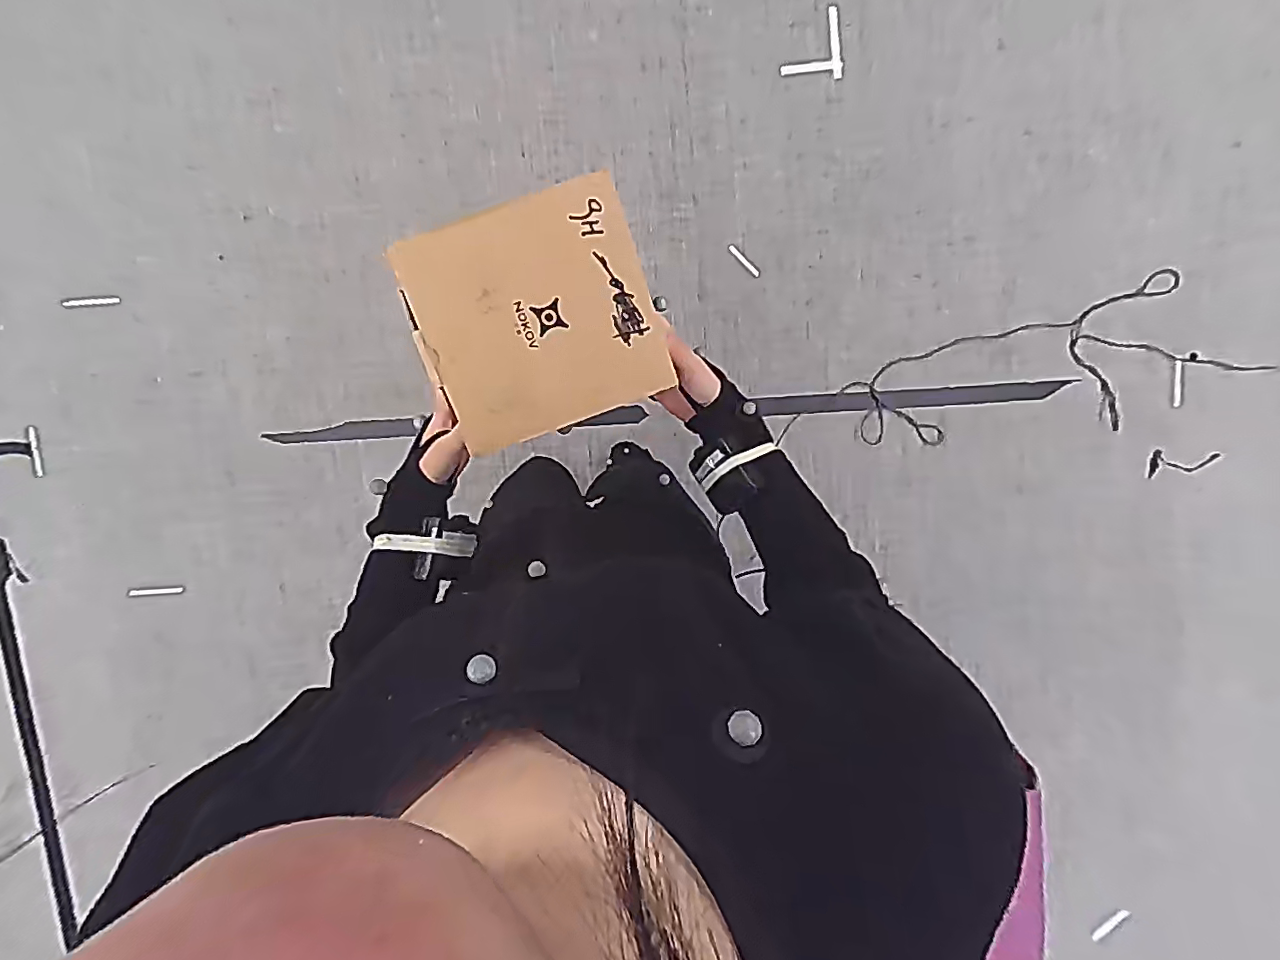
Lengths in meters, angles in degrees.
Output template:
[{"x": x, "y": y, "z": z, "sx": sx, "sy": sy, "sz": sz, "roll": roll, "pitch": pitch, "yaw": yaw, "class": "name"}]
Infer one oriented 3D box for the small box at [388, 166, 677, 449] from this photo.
[{"x": -0.081, "y": -0.140, "z": 0.482, "sx": 0.179, "sy": 0.176, "sz": 0.168, "roll": -19, "pitch": 104, "yaw": 0, "class": "small box"}]
